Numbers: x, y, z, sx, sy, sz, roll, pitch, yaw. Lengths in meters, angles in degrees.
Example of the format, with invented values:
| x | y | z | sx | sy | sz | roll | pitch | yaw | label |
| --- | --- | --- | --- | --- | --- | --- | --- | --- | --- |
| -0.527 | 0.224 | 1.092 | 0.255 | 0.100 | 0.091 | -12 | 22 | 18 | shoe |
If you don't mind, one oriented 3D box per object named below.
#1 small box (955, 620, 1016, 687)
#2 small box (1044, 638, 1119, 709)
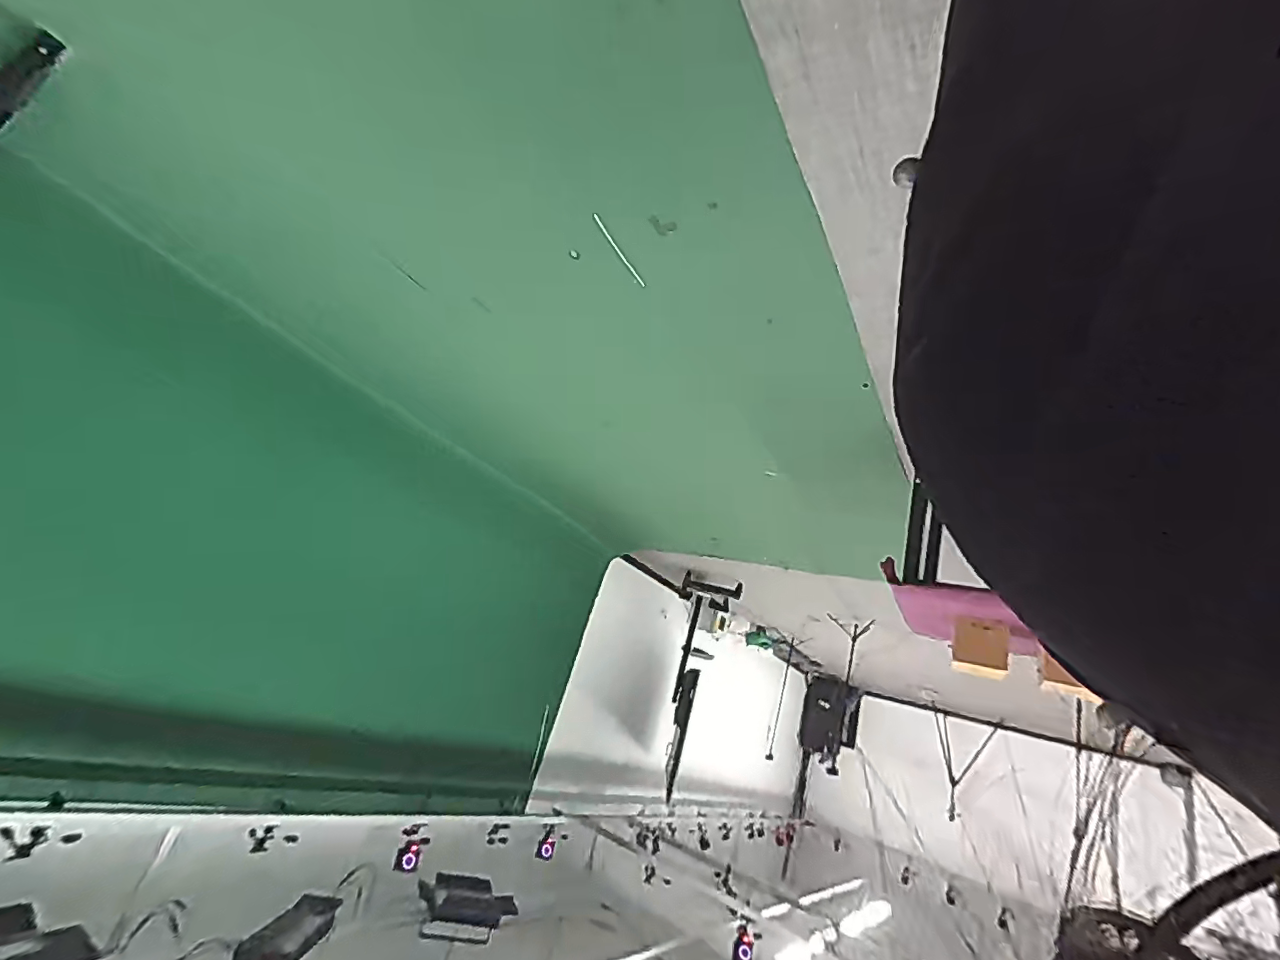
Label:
| x | y | z | sx | sy | sz | roll | pitch | yaw | label |
| --- | --- | --- | --- | --- | --- | --- | --- | --- | --- |
| 1.217 | 0.610 | 1.907 | 0.168 | 0.176 | 0.179 | 5 | 155 | 30 | small box |
| 1.435 | 0.628 | 1.766 | 0.168 | 0.176 | 0.179 | 5 | 155 | 32 | small box |
